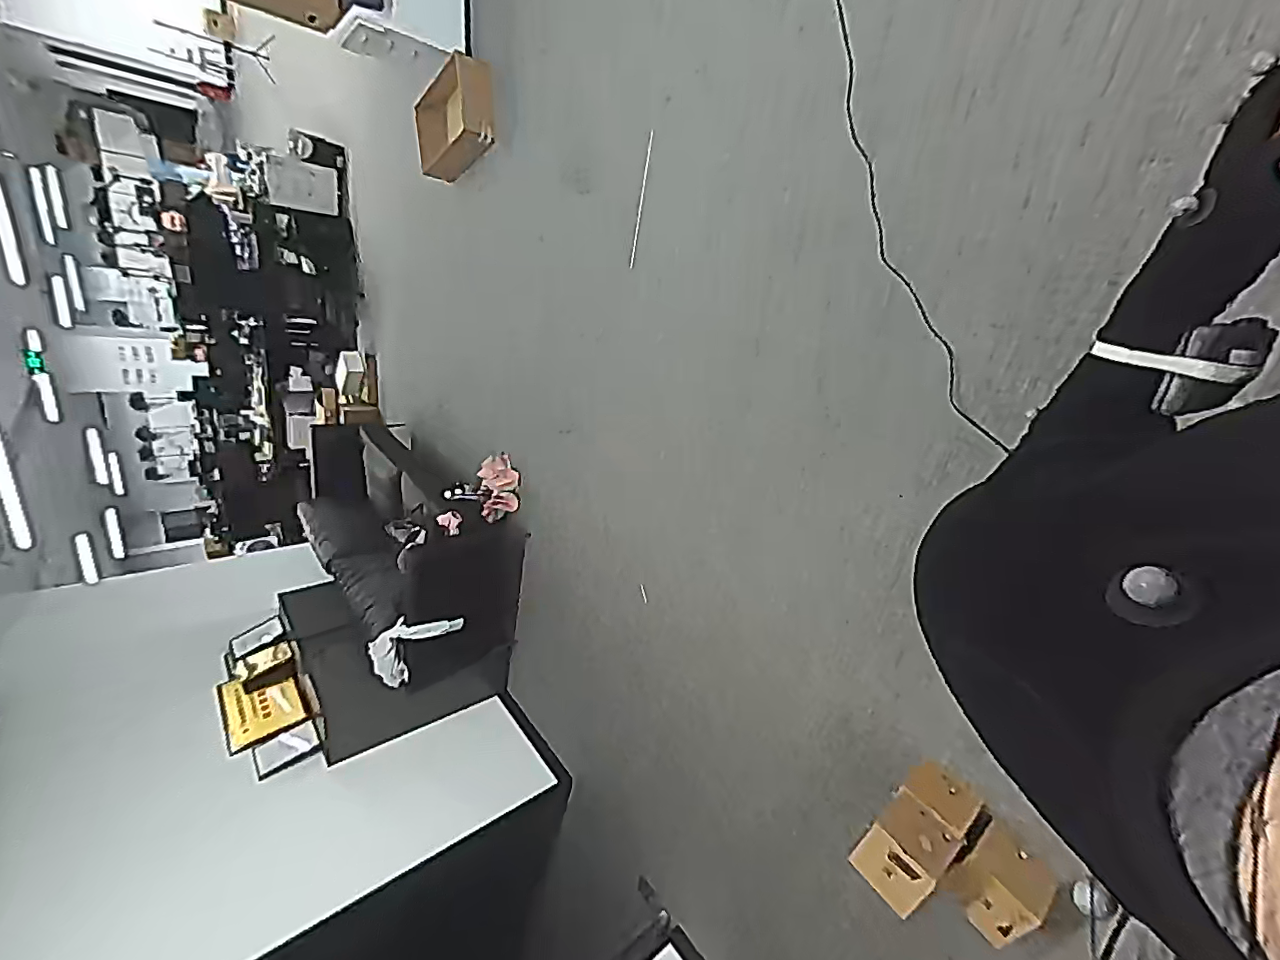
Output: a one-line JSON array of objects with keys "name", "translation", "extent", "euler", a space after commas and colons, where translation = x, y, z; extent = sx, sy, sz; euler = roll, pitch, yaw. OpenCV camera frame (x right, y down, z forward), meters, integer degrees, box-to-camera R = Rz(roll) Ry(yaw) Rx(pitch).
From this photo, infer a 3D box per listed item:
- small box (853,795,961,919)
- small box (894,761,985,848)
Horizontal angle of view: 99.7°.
[{"name": "small box", "translation": [0.693, 0.962, 1.396], "extent": [0.168, 0.176, 0.179], "euler": [39, 124, 38]}, {"name": "small box", "translation": [0.818, 0.931, 1.499], "extent": [0.168, 0.176, 0.179], "euler": [33, 120, 41]}]
